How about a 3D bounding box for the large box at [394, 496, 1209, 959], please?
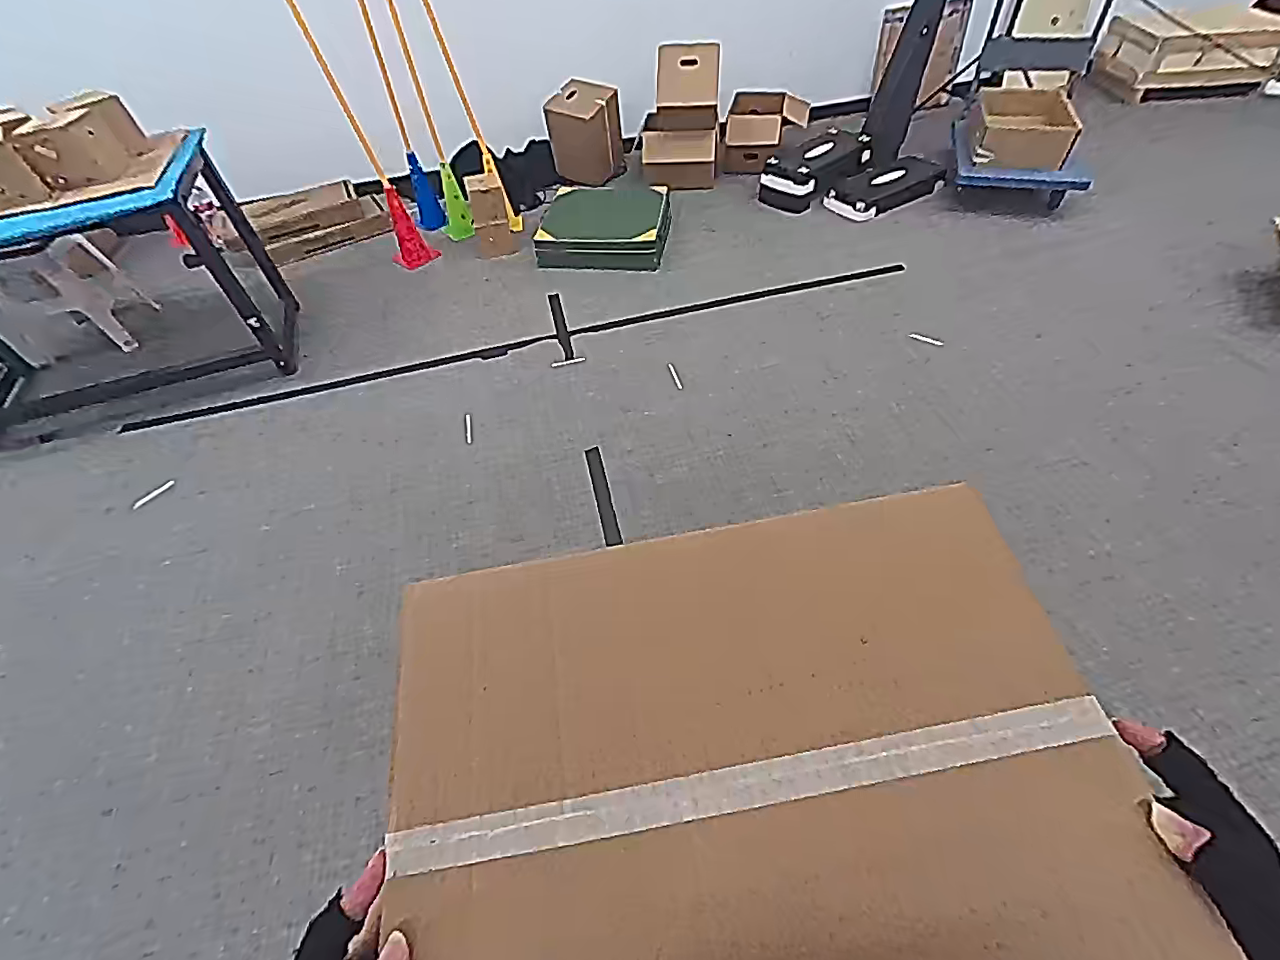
[{"bbox_3d":[0.073,0.251,0.437,0.408,0.320,0.320,-11,58,-1],"label":"large box"}]
